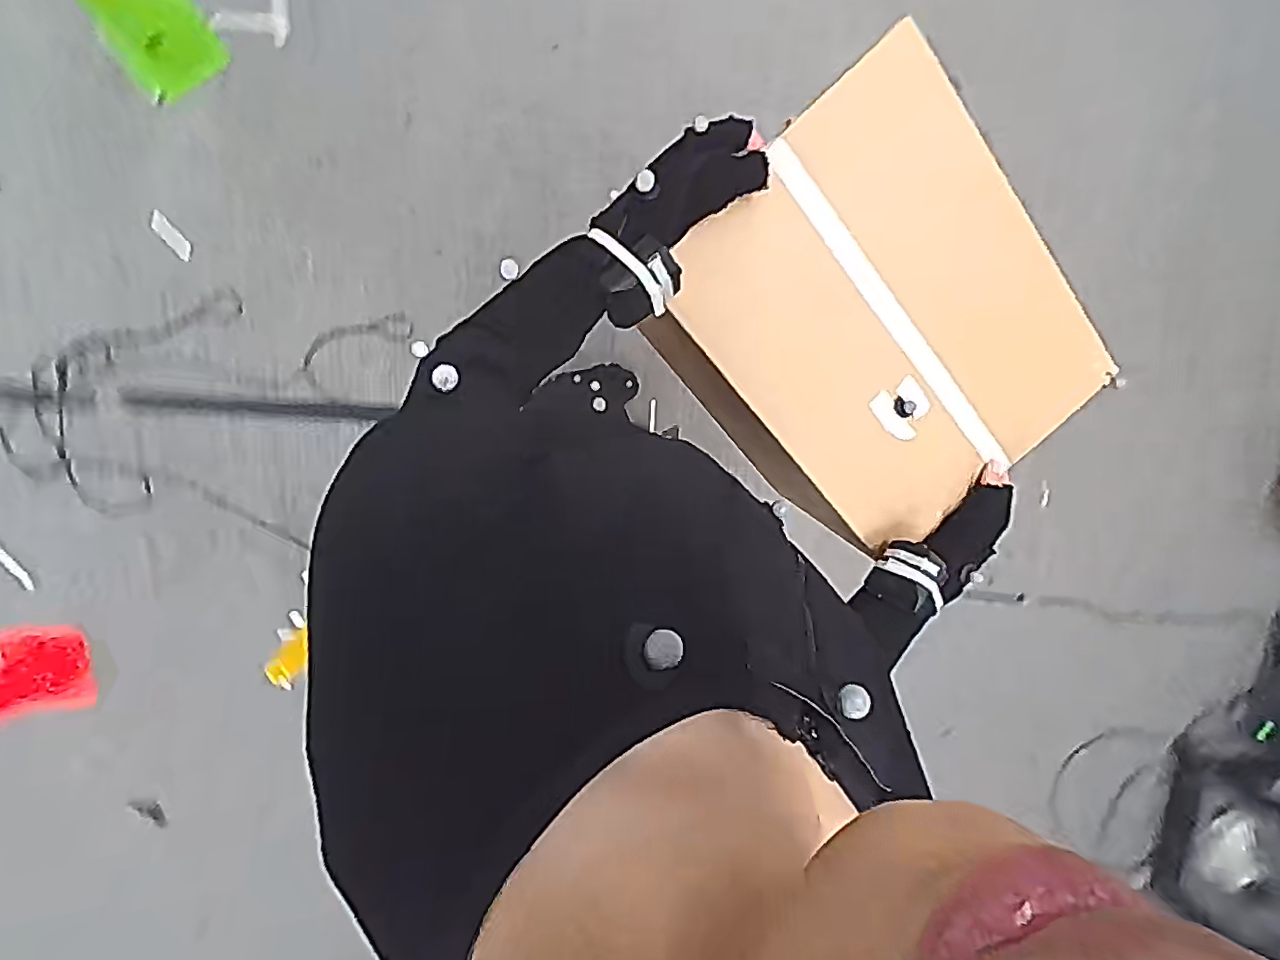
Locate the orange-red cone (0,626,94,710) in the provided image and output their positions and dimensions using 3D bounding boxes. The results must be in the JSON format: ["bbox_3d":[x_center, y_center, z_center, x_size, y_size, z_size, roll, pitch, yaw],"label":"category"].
[{"bbox_3d":[-1.492,0.499,1.212,0.199,0.360,0.198,-1,101,-8],"label":"orange-red cone"}]

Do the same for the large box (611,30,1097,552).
[{"bbox_3d":[0.218,-0.191,0.670,0.320,0.320,0.408,-44,105,5],"label":"large box"}]

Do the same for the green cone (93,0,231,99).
[{"bbox_3d":[-1.016,-0.951,1.018,0.200,0.368,0.202,-35,101,-1],"label":"green cone"}]
